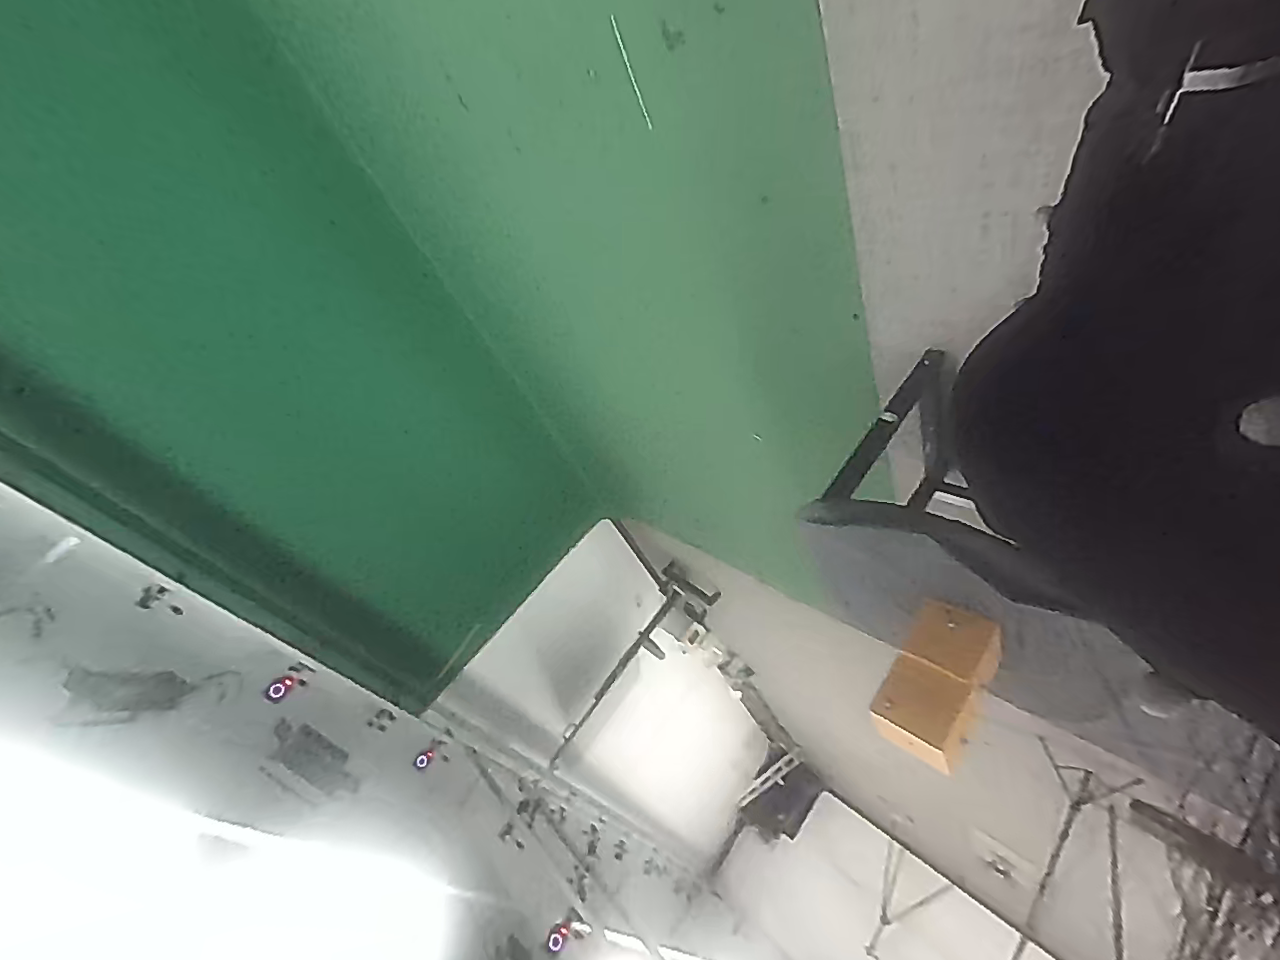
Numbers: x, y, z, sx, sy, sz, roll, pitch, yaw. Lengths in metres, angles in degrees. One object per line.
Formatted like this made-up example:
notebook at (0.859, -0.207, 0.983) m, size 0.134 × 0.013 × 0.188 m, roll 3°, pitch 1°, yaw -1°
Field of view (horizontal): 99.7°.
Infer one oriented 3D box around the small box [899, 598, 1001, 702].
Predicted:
small box at (0.772, 0.428, 1.339) m, size 0.168 × 0.176 × 0.179 m, roll 19°, pitch 151°, yaw 46°

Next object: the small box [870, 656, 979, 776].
small box at (0.683, 0.553, 1.285) m, size 0.179 × 0.176 × 0.168 m, roll 19°, pitch 151°, yaw 47°
